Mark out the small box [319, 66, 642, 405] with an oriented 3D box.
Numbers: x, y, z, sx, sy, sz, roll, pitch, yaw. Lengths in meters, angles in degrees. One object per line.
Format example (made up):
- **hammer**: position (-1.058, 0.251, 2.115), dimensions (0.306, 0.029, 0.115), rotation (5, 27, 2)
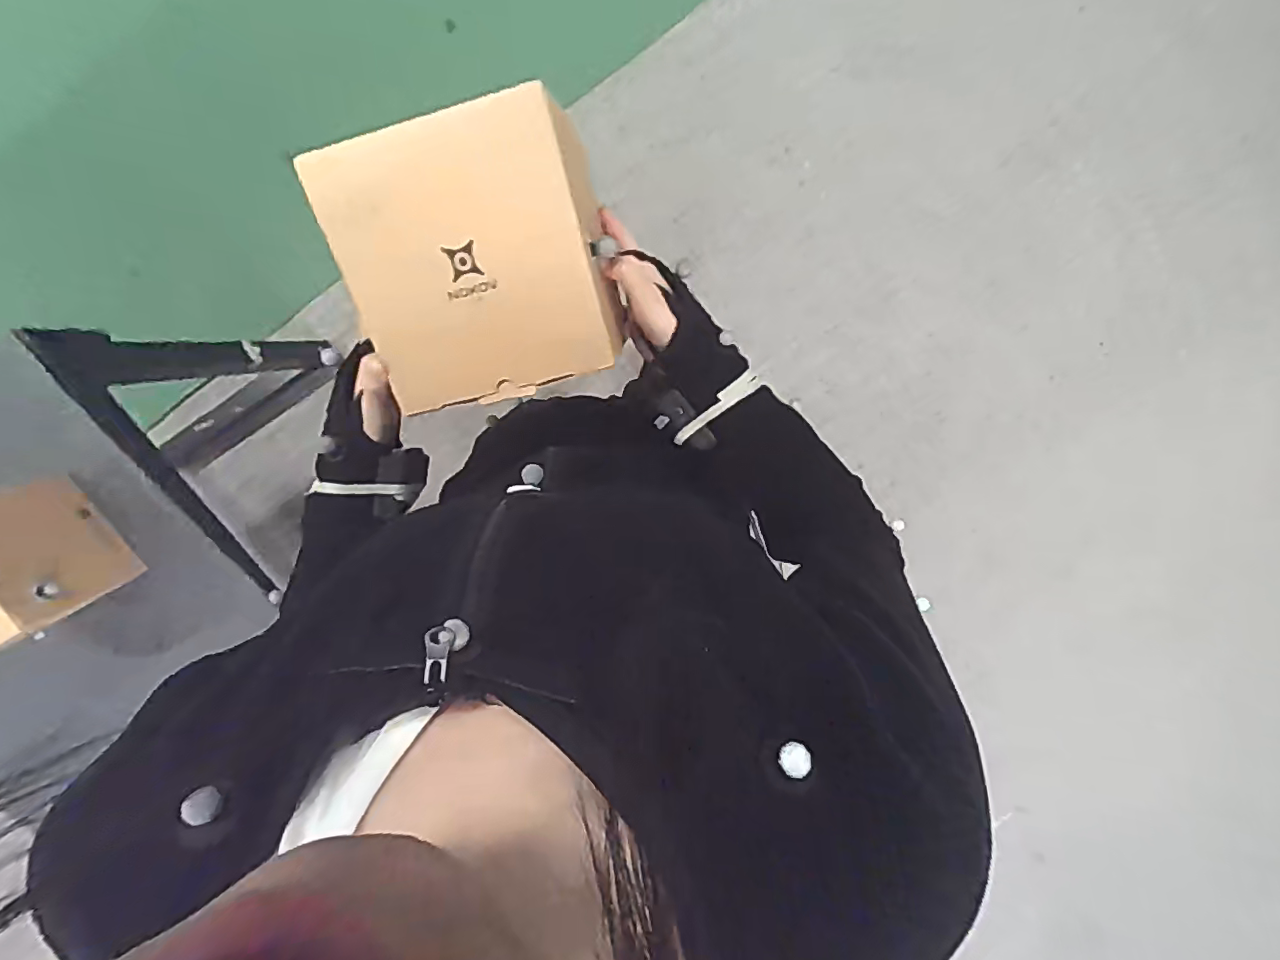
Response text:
- **small box**: position (-0.097, -0.177, 0.421), dimensions (0.168, 0.176, 0.179), rotation (-11, 114, 5)
